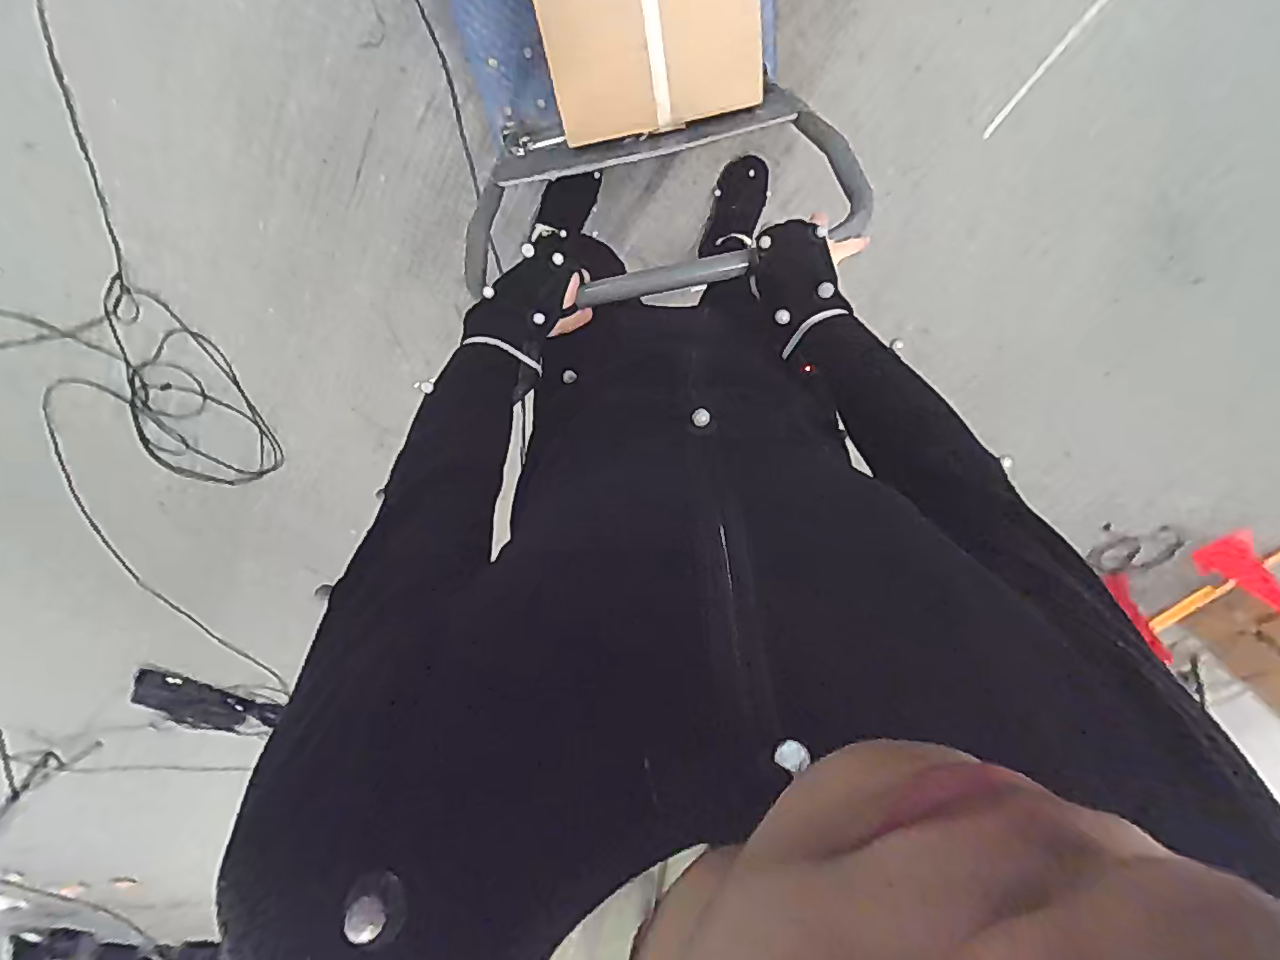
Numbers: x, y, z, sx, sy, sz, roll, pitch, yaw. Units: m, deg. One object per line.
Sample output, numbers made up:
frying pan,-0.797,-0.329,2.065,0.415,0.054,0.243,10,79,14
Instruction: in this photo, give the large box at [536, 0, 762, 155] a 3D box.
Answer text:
large box,0.001,-0.800,0.860,0.320,0.320,0.408,-10,130,5
